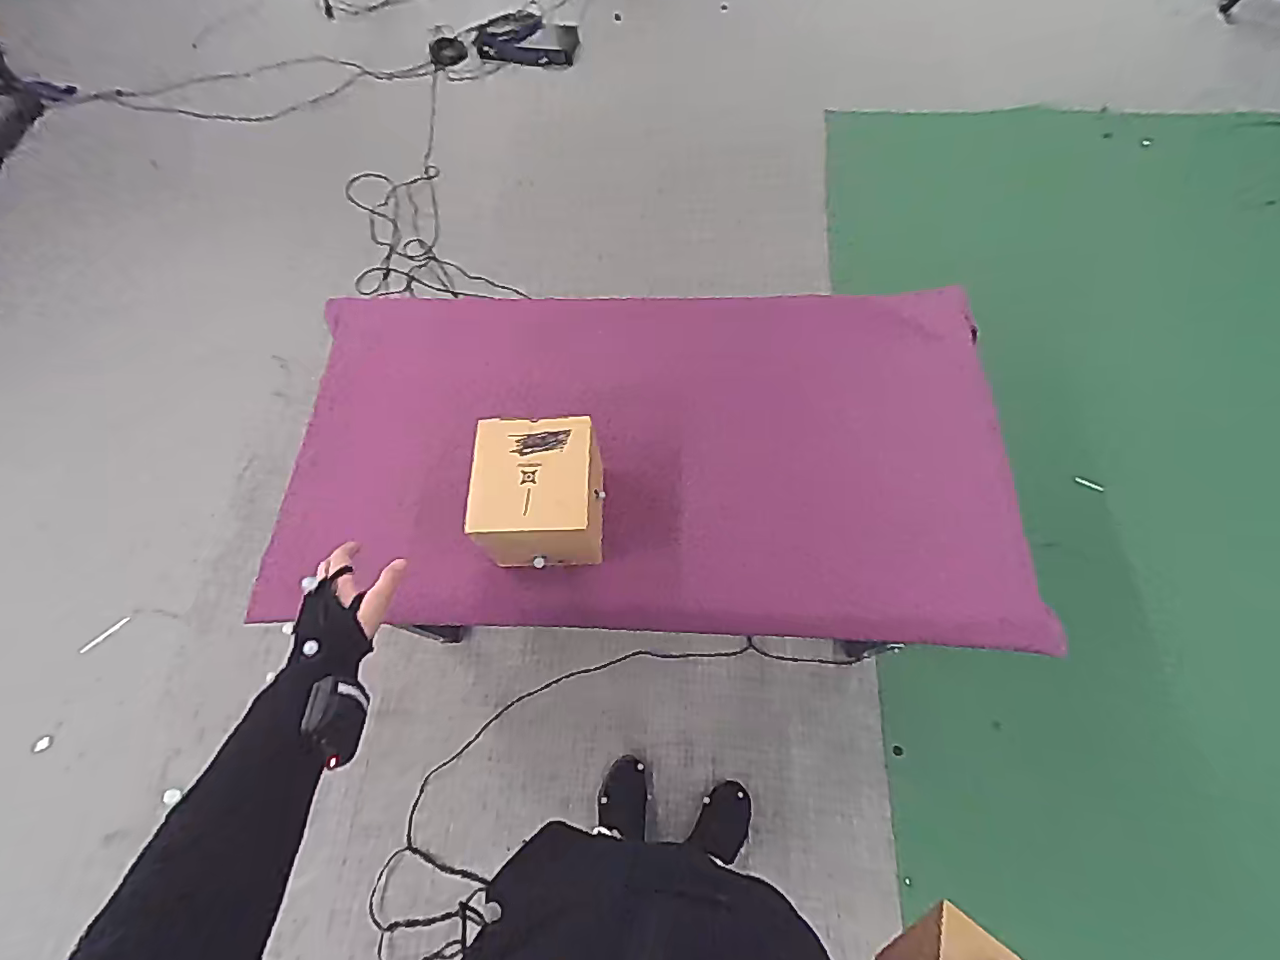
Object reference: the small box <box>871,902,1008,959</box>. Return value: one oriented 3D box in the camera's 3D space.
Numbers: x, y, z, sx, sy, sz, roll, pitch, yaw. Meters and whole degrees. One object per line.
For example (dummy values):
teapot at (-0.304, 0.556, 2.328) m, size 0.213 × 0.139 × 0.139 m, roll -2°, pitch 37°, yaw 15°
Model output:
small box at (0.351, 0.643, 0.599) m, size 0.168 × 0.176 × 0.179 m, roll 34°, pitch 30°, yaw 22°

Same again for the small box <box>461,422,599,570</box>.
small box at (-0.155, 0.029, 0.823) m, size 0.168 × 0.176 × 0.179 m, roll -2°, pitch 65°, yaw 2°
